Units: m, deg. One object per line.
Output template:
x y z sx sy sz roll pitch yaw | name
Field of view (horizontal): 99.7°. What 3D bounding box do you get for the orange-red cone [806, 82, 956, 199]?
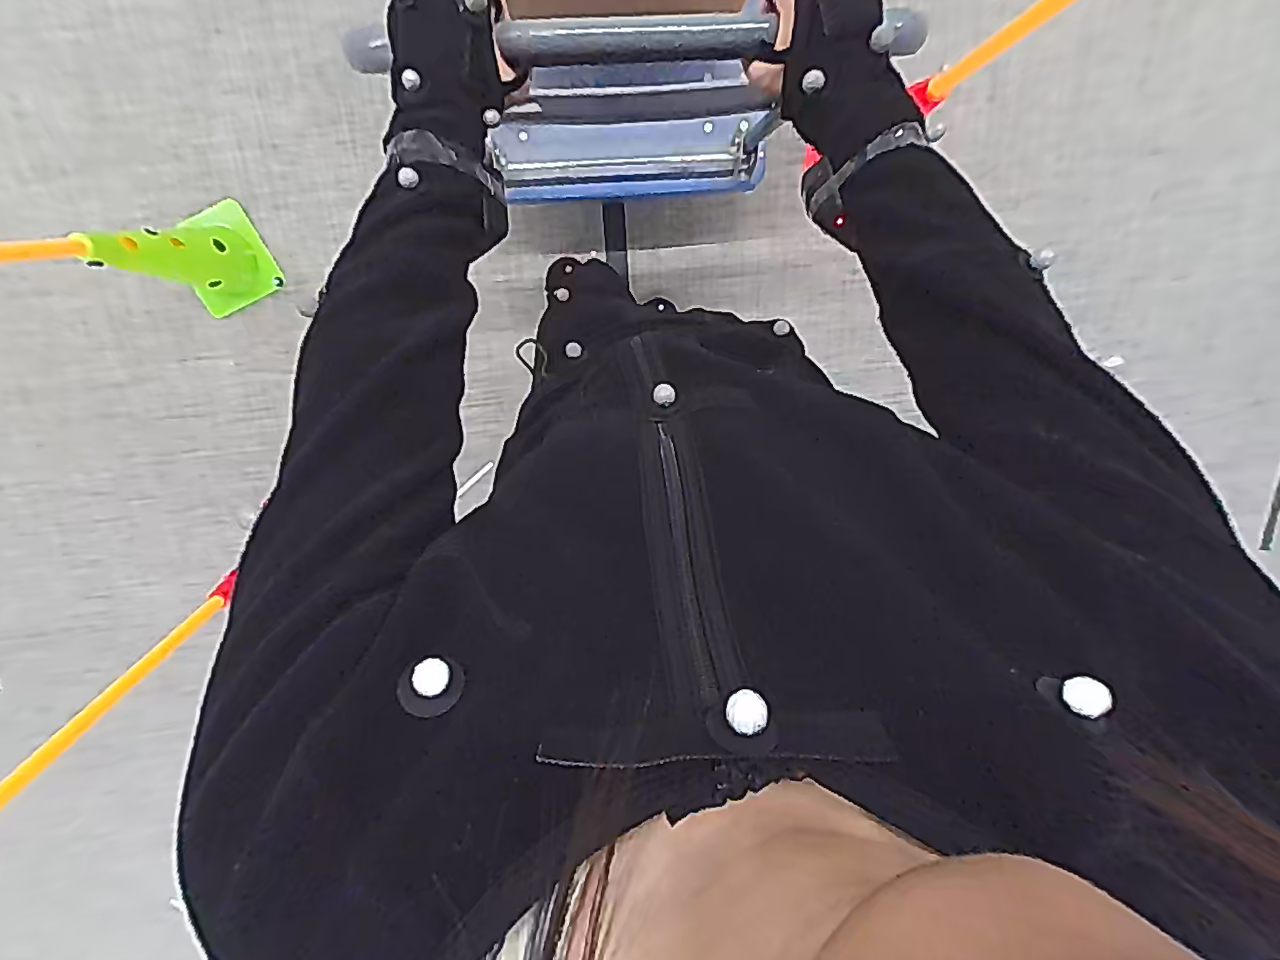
0.490 -0.687 1.046 0.199 0.360 0.198 1 109 -4 | orange-red cone
